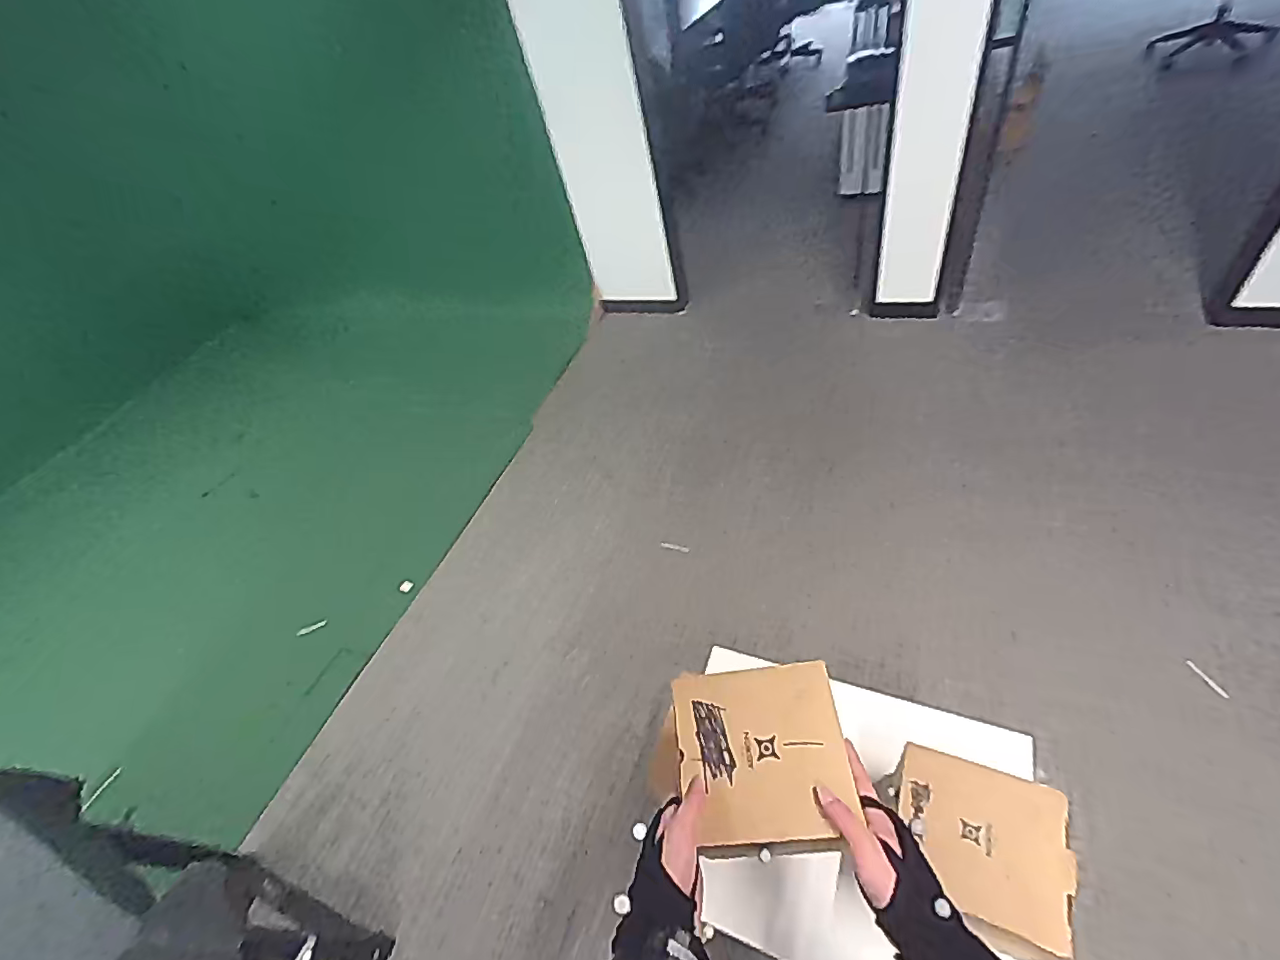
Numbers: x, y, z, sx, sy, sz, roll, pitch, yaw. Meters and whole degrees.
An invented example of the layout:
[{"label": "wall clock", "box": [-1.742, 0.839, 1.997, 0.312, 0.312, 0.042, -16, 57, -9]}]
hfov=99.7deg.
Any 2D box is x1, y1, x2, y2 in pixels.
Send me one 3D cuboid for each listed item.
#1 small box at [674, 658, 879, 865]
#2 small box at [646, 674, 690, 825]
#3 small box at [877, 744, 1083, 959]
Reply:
[{"label": "small box", "box": [0.143, 0.318, 0.602, 0.179, 0.176, 0.168, -10, 50, 7]}, {"label": "small box", "box": [0.127, 0.418, 0.797, 0.179, 0.176, 0.168, 8, 49, 20]}, {"label": "small box", "box": [0.413, 0.468, 0.680, 0.179, 0.176, 0.168, 11, 51, 22]}]
